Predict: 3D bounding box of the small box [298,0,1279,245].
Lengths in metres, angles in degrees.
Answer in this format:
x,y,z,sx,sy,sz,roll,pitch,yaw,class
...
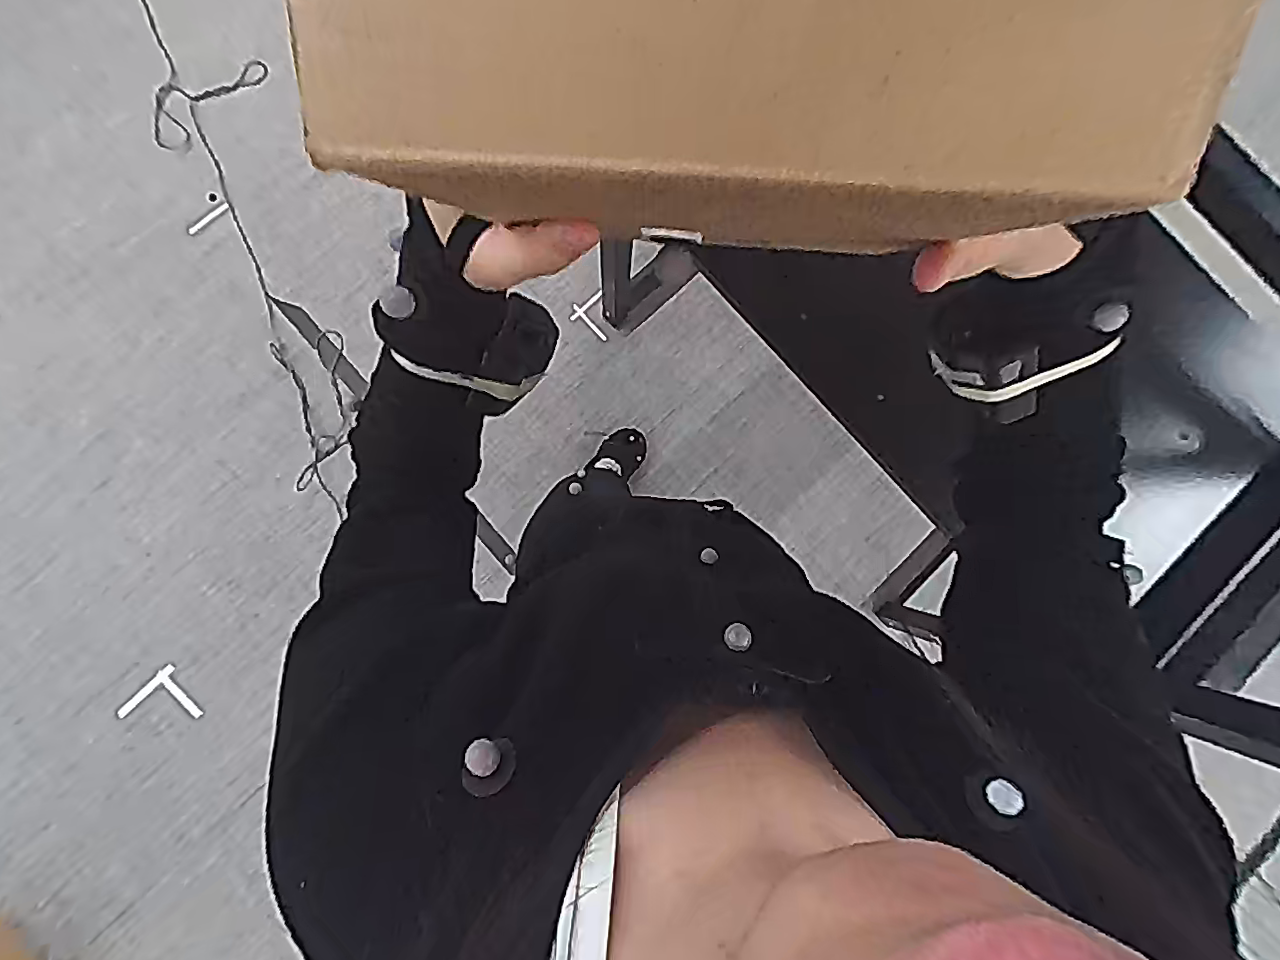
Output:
x,y,z,sx,sy,sz,roll,pitch,yaw,class
0.031,-0.167,0.145,0.168,0.176,0.179,5,111,4,small box
